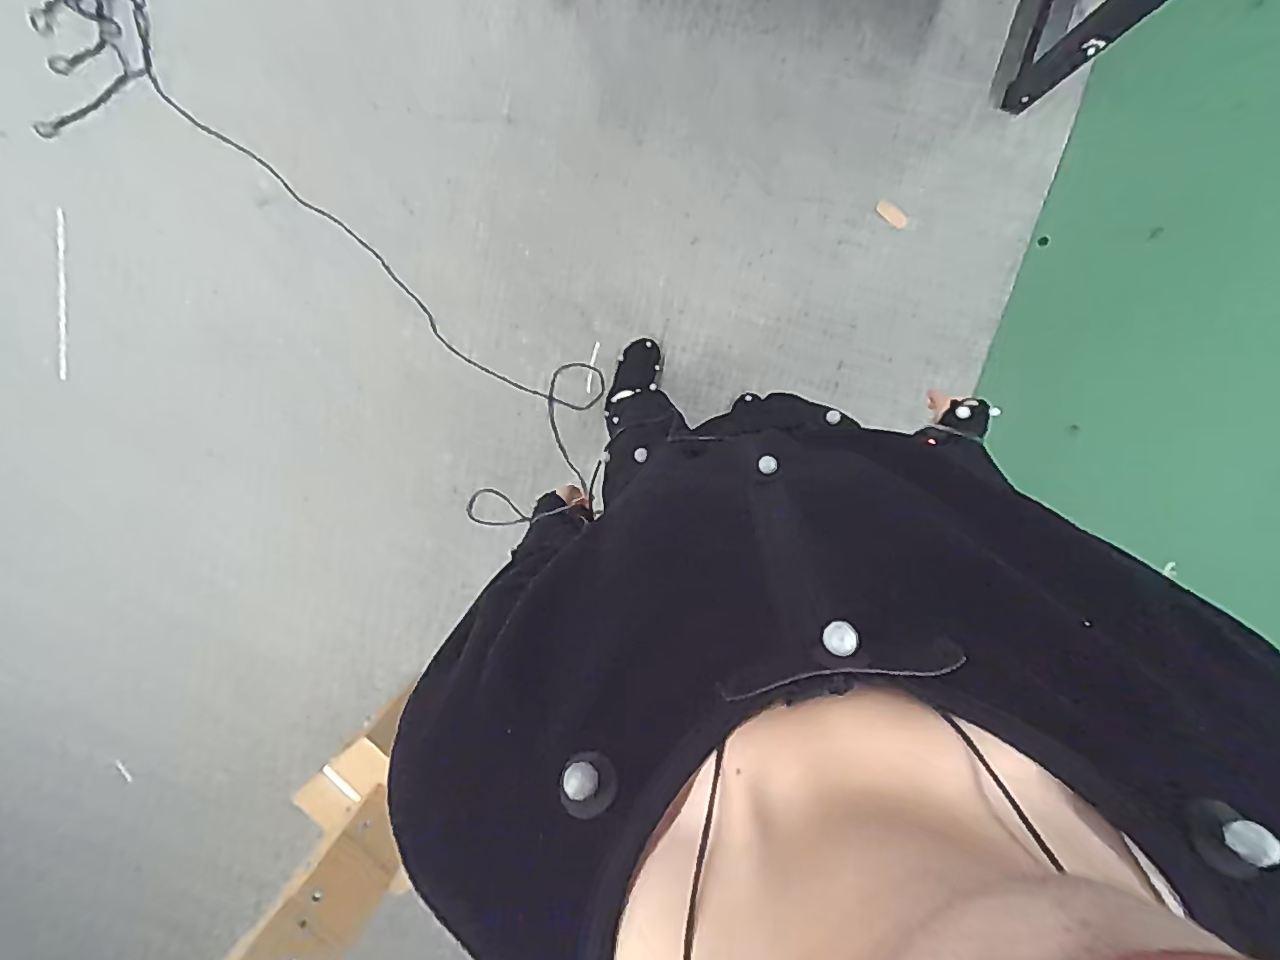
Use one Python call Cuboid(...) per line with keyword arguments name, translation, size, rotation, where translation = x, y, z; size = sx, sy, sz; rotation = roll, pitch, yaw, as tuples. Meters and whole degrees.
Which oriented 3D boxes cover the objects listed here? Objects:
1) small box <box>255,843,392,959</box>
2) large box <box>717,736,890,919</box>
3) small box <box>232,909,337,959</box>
Cuboid(name="small box", translation=(-0.691, 0.956, 1.187), size=(0.168, 0.176, 0.179), rotation=(-44, 93, 11))
Cuboid(name="large box", translation=(0.428, 0.953, 1.515), size=(0.408, 0.320, 0.320), rotation=(0, 102, 3))
Cuboid(name="small box", translation=(-0.716, 0.978, 1.025), size=(0.179, 0.176, 0.168), rotation=(-44, 93, 11))
